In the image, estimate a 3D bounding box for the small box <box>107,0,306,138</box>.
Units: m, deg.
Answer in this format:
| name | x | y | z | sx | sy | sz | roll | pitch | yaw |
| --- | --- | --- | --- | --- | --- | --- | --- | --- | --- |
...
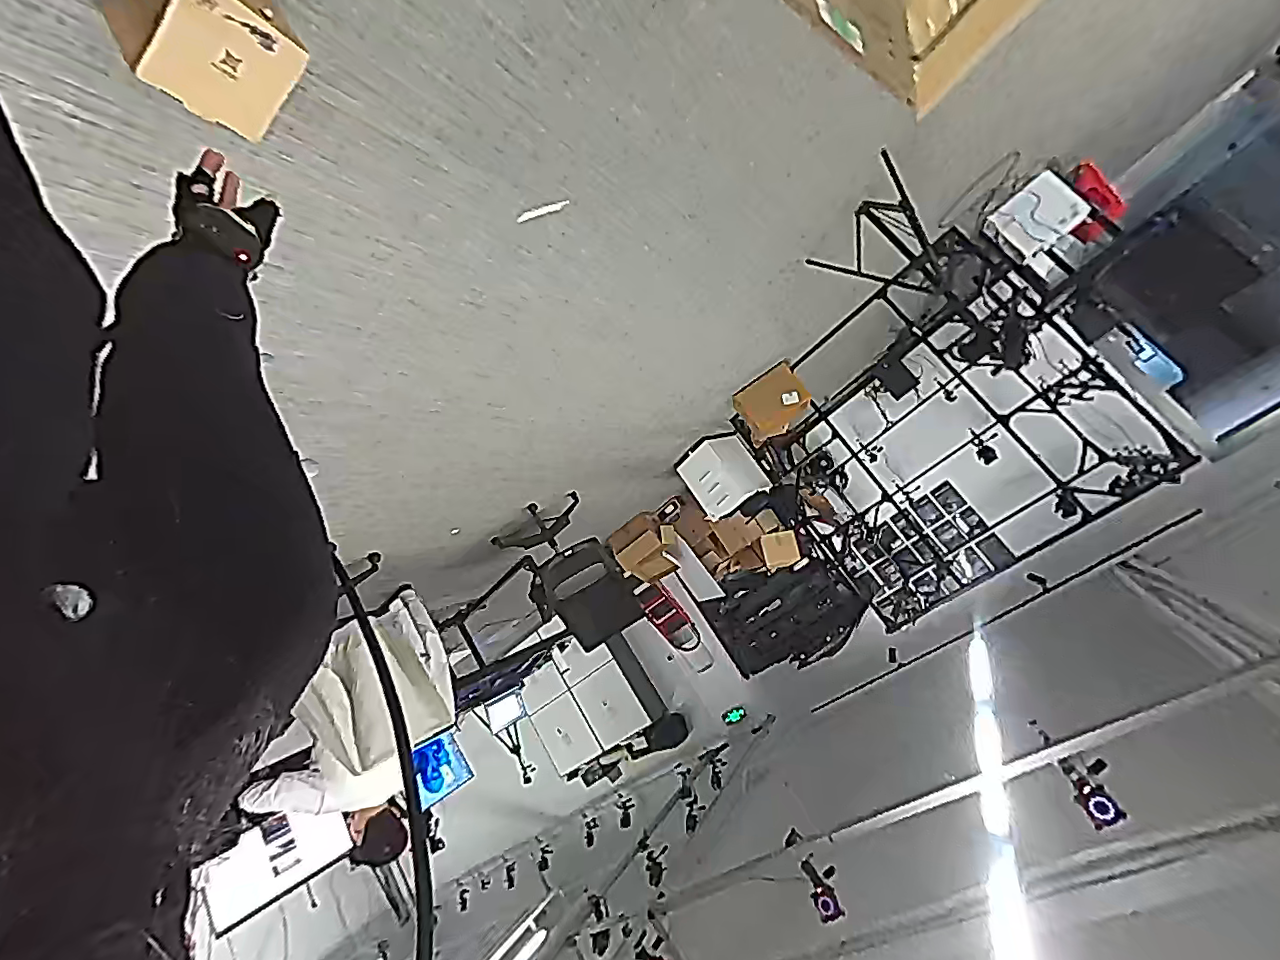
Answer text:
| name | x | y | z | sx | sy | sz | roll | pitch | yaw |
| --- | --- | --- | --- | --- | --- | --- | --- | --- | --- |
| small box | -0.656 | -0.683 | 0.817 | 0.179 | 0.176 | 0.168 | -39 | 164 | 18 |
